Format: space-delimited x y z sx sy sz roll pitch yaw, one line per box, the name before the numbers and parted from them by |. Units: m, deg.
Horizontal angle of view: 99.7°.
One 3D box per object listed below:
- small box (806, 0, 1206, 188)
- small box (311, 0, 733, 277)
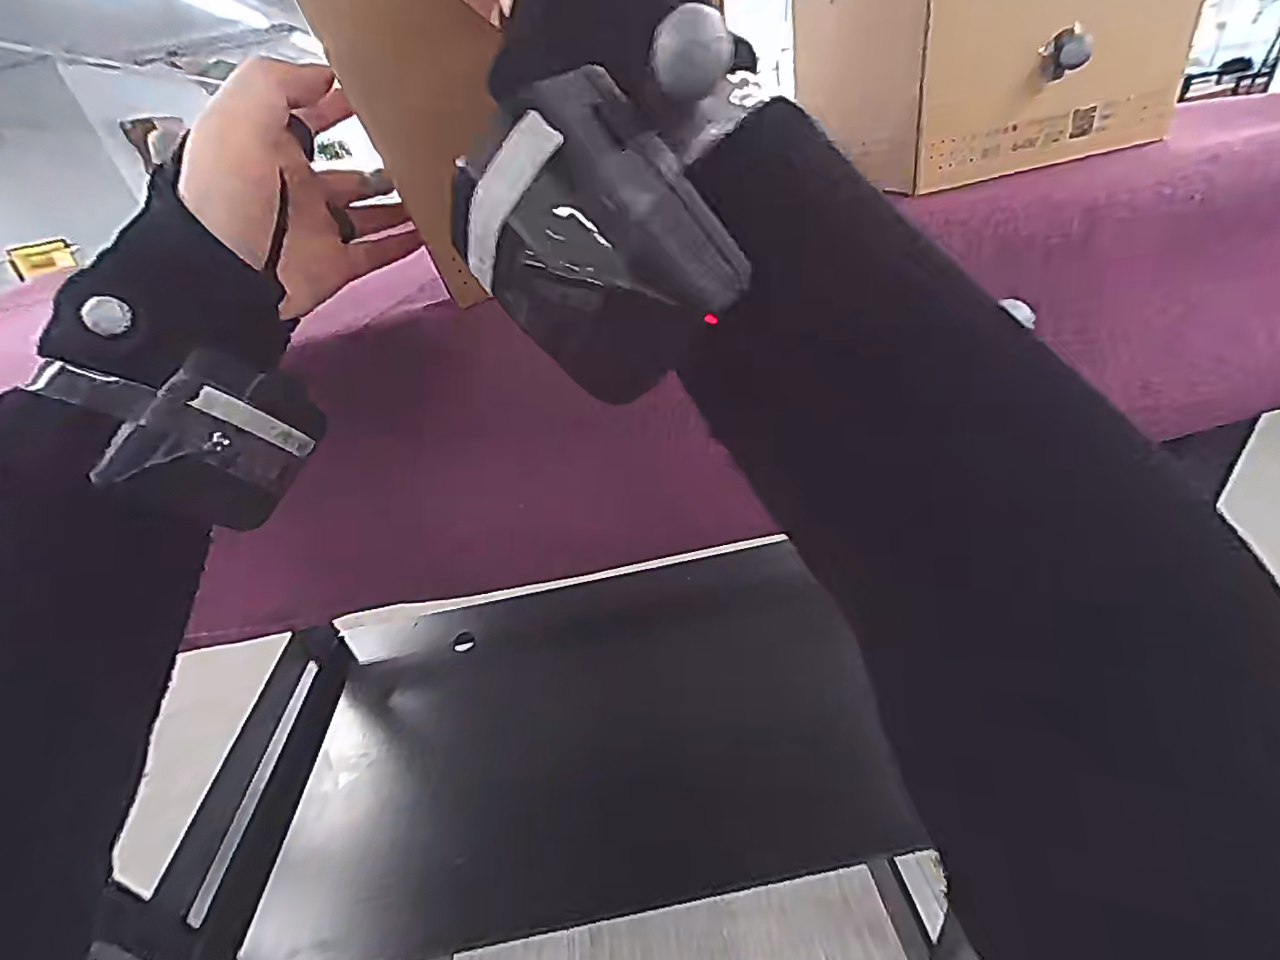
small box | 0.217 -0.300 0.356 0.168 0.176 0.179 -14 32 -3
small box | -0.064 -0.231 0.282 0.168 0.176 0.179 -25 49 -6
